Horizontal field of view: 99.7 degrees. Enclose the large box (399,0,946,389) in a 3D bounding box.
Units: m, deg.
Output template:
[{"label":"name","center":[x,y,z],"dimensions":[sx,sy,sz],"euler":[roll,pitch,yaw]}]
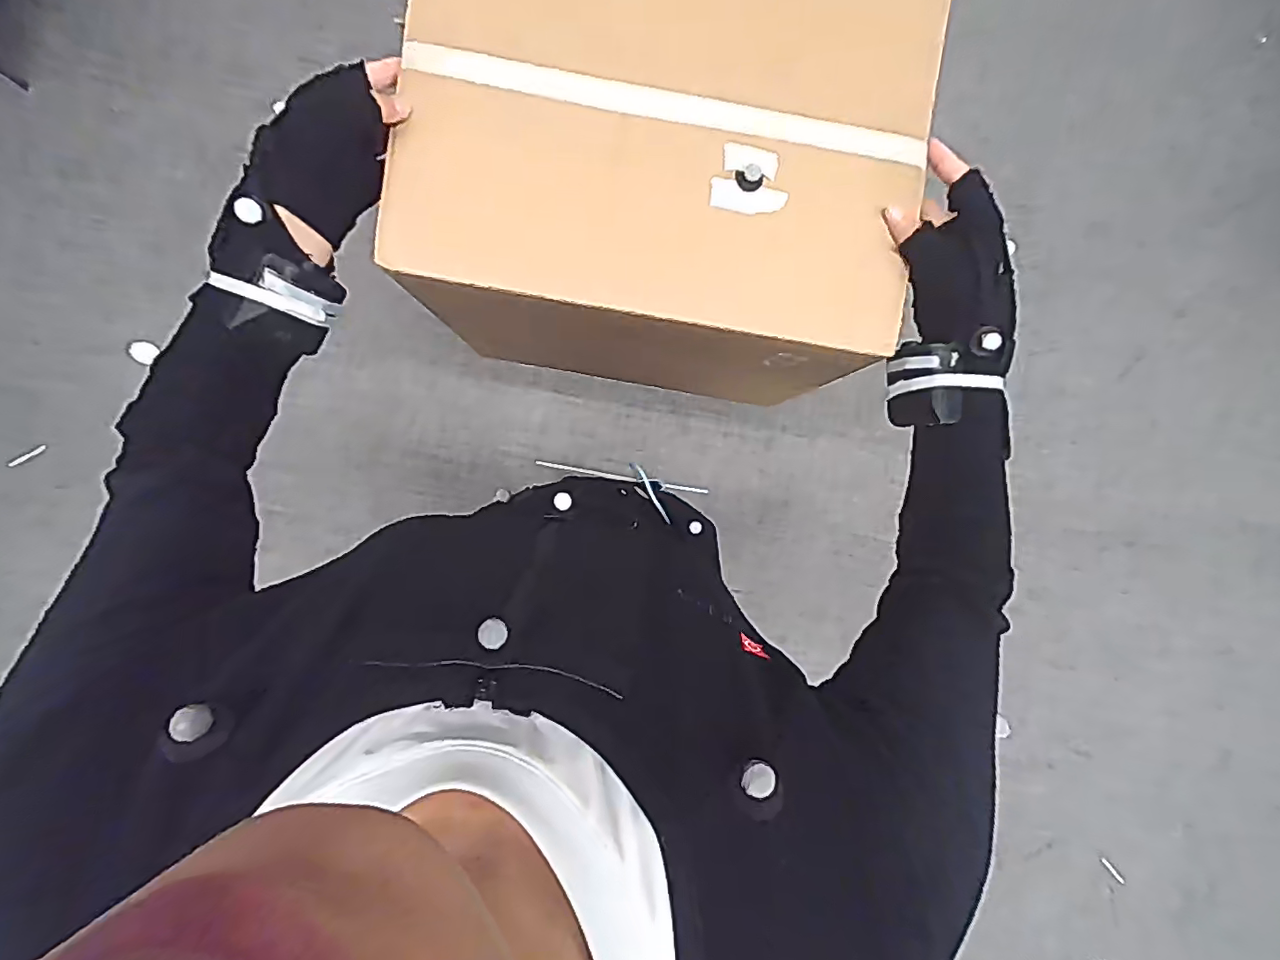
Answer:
[{"label":"large box","center":[0.022,-0.296,0.569],"dimensions":[0.408,0.320,0.320],"euler":[9,92,-3]}]
